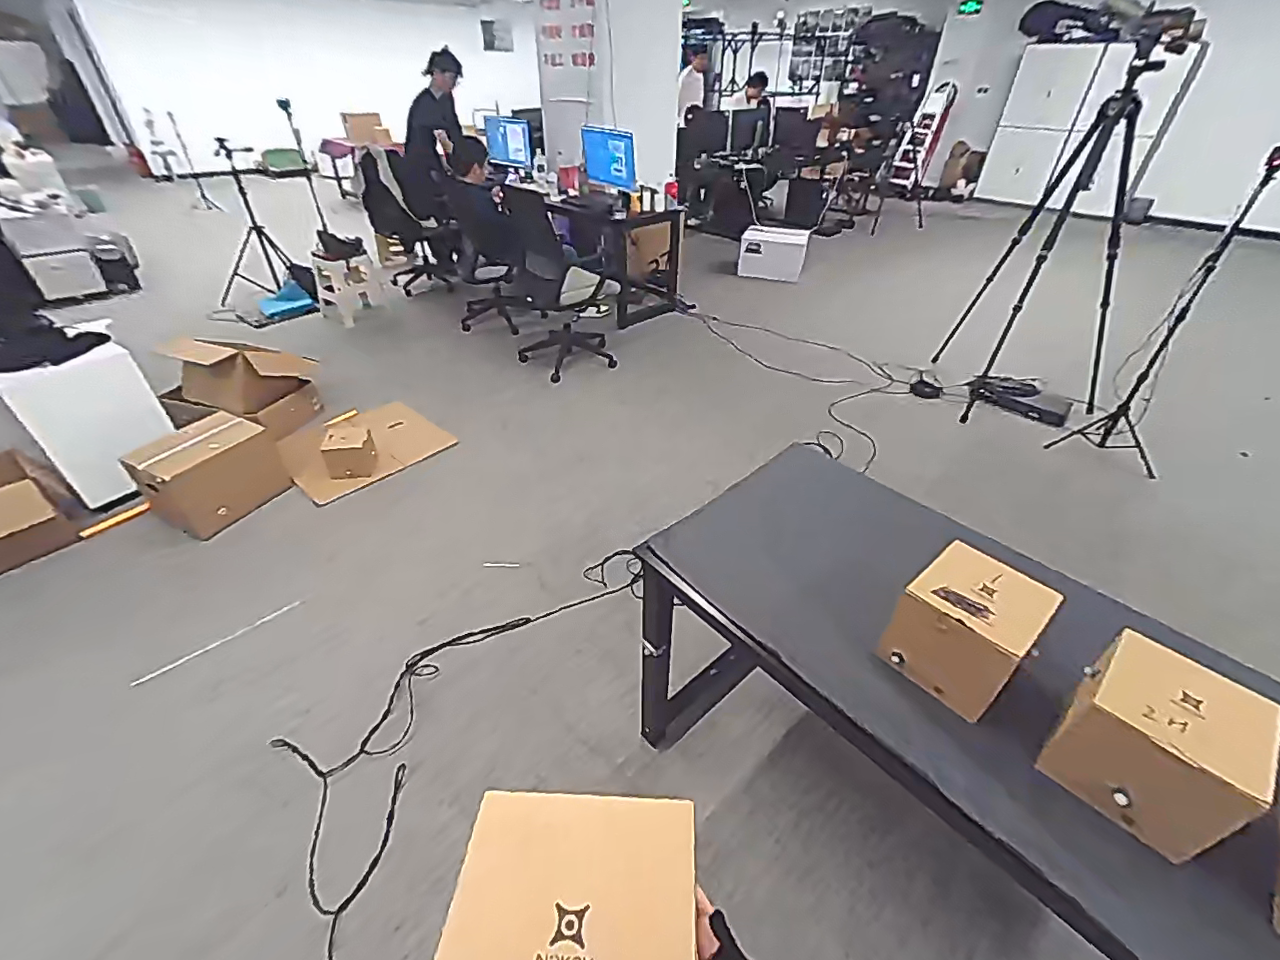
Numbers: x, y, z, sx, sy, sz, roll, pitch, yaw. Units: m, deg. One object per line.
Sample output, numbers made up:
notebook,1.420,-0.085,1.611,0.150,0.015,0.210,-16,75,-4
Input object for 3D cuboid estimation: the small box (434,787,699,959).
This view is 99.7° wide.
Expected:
small box,-0.044,0.356,0.388,0.168,0.176,0.179,0,33,4

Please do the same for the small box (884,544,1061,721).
small box,0.517,0.241,0.863,0.179,0.176,0.168,-26,44,-33

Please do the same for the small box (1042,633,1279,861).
small box,0.680,0.349,0.719,0.179,0.176,0.168,-28,45,-33
